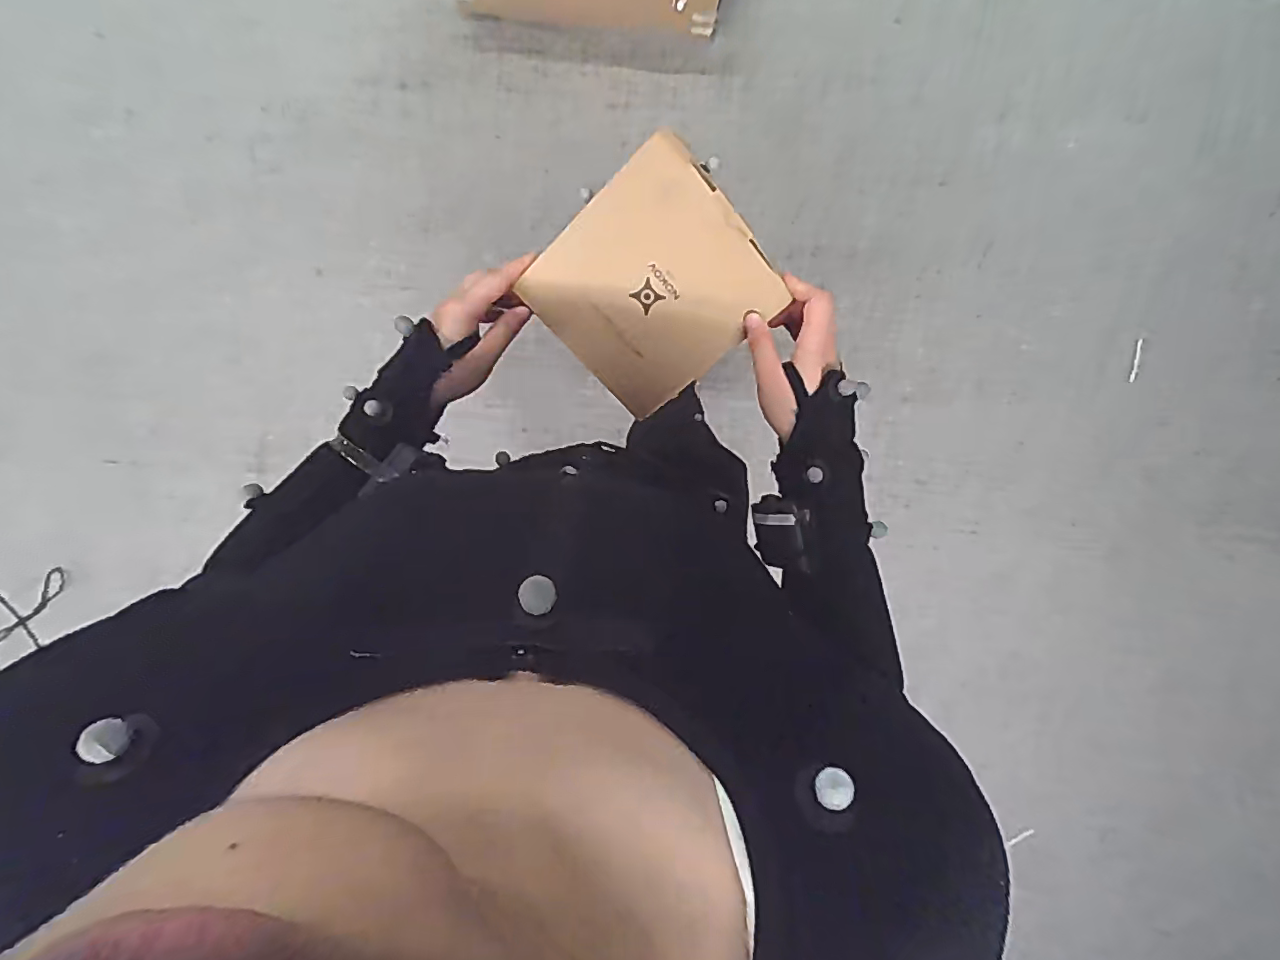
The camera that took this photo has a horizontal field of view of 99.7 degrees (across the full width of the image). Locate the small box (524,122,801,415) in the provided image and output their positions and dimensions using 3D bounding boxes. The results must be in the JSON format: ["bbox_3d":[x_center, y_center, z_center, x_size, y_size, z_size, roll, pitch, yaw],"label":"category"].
[{"bbox_3d":[0.022,-0.201,0.515,0.179,0.176,0.168,-37,111,24],"label":"small box"}]
